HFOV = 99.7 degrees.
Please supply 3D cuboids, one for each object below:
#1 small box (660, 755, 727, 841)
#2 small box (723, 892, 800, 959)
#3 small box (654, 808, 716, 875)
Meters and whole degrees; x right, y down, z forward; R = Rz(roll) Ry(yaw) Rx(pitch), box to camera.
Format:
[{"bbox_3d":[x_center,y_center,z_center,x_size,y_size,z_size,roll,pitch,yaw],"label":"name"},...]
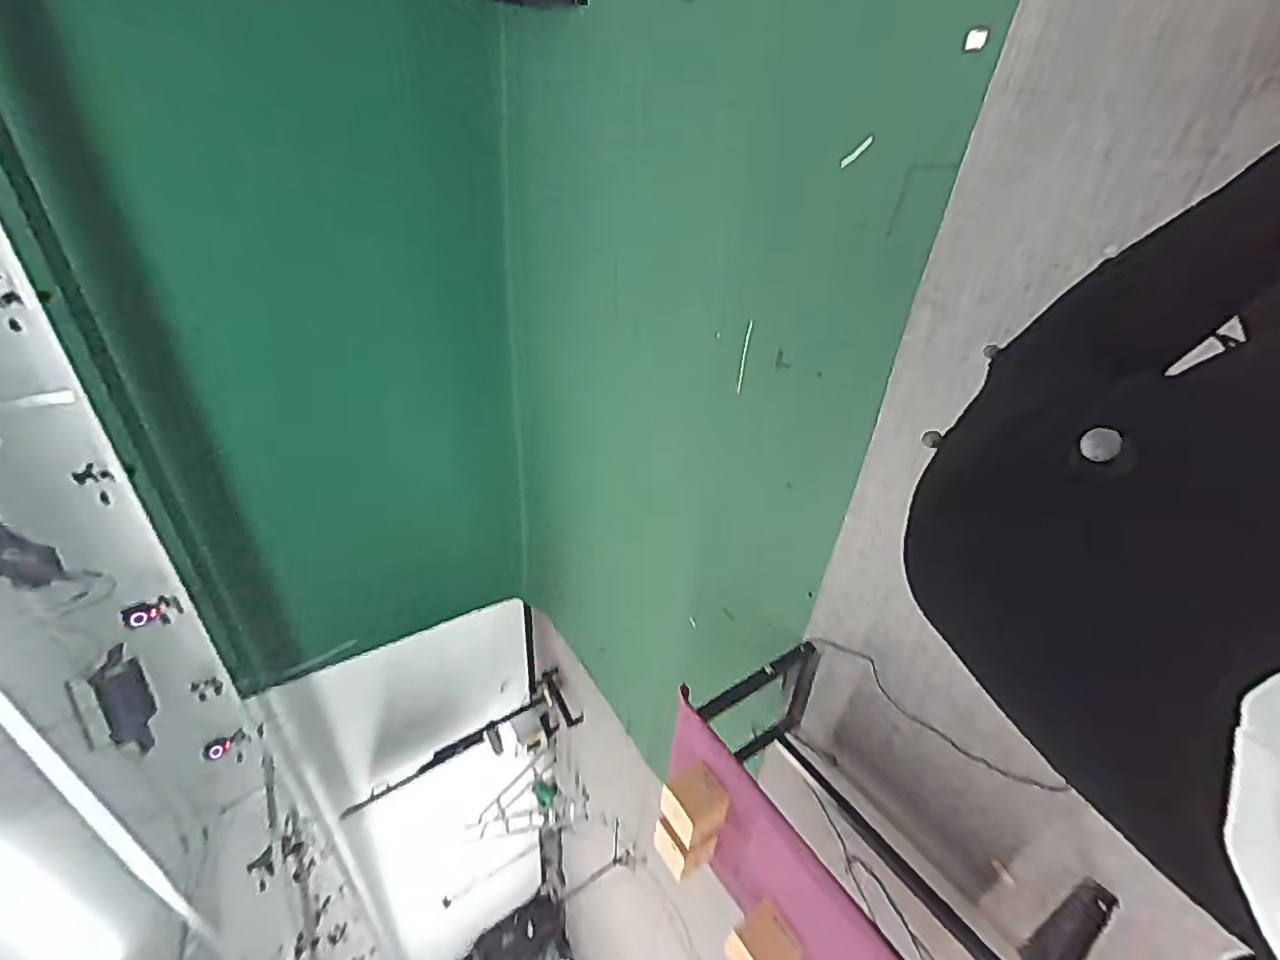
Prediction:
[{"bbox_3d":[0.190,1.124,1.918,0.168,0.176,0.179,40,138,41],"label":"small box"},{"bbox_3d":[0.400,1.521,1.781,0.168,0.176,0.179,40,135,42],"label":"small box"},{"bbox_3d":[0.171,1.343,2.061,0.168,0.176,0.179,39,135,43],"label":"small box"}]
